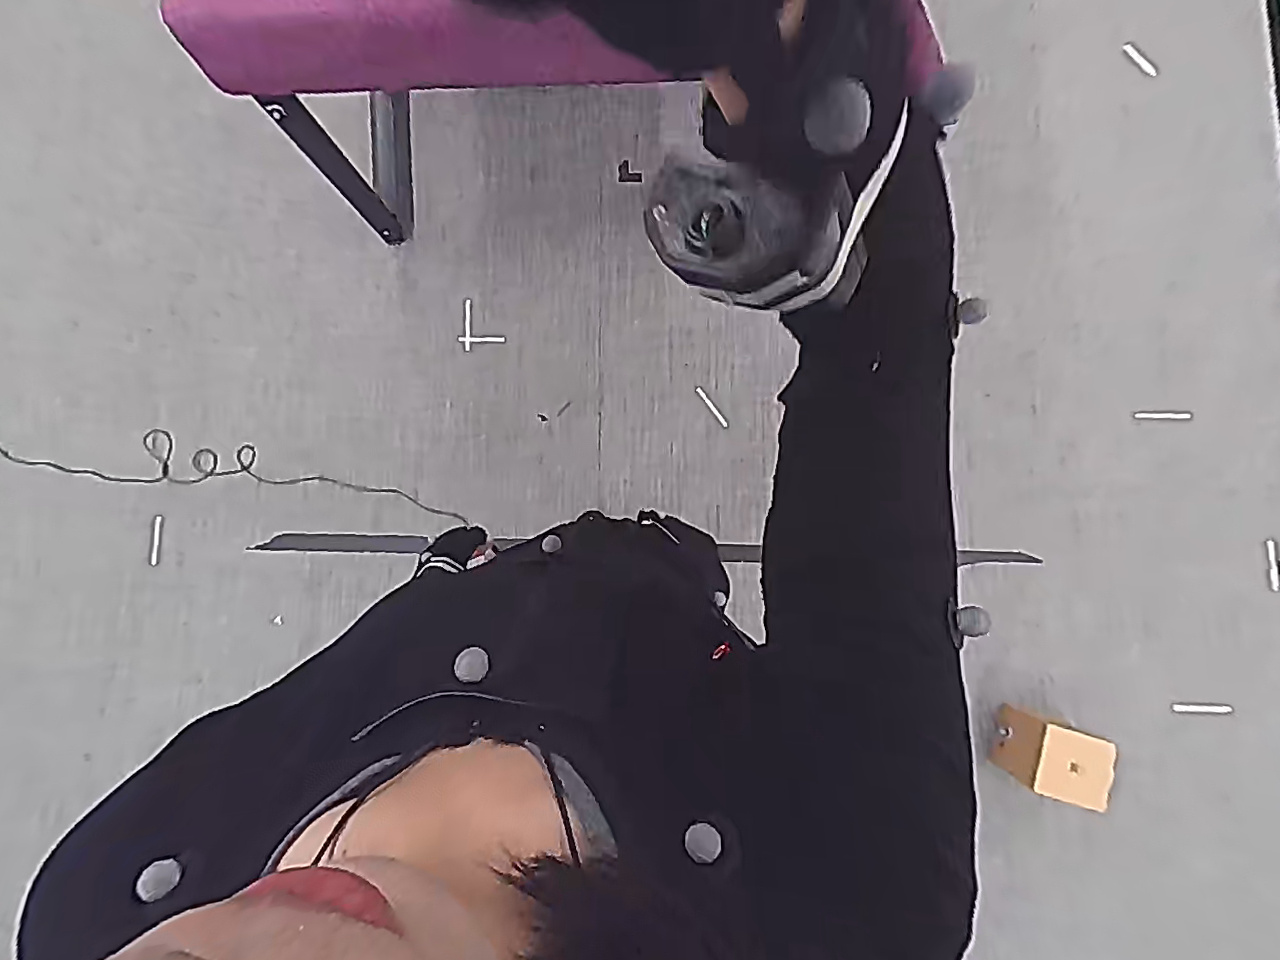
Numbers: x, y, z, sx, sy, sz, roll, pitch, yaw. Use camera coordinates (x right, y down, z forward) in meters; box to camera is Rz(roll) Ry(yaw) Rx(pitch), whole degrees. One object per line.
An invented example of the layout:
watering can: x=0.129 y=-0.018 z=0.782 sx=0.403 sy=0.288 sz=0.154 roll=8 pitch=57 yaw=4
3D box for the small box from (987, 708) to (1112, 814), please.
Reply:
small box: x=1.036 y=0.706 z=1.379 sx=0.179 sy=0.176 sz=0.168 roll=16 pitch=84 yaw=3
